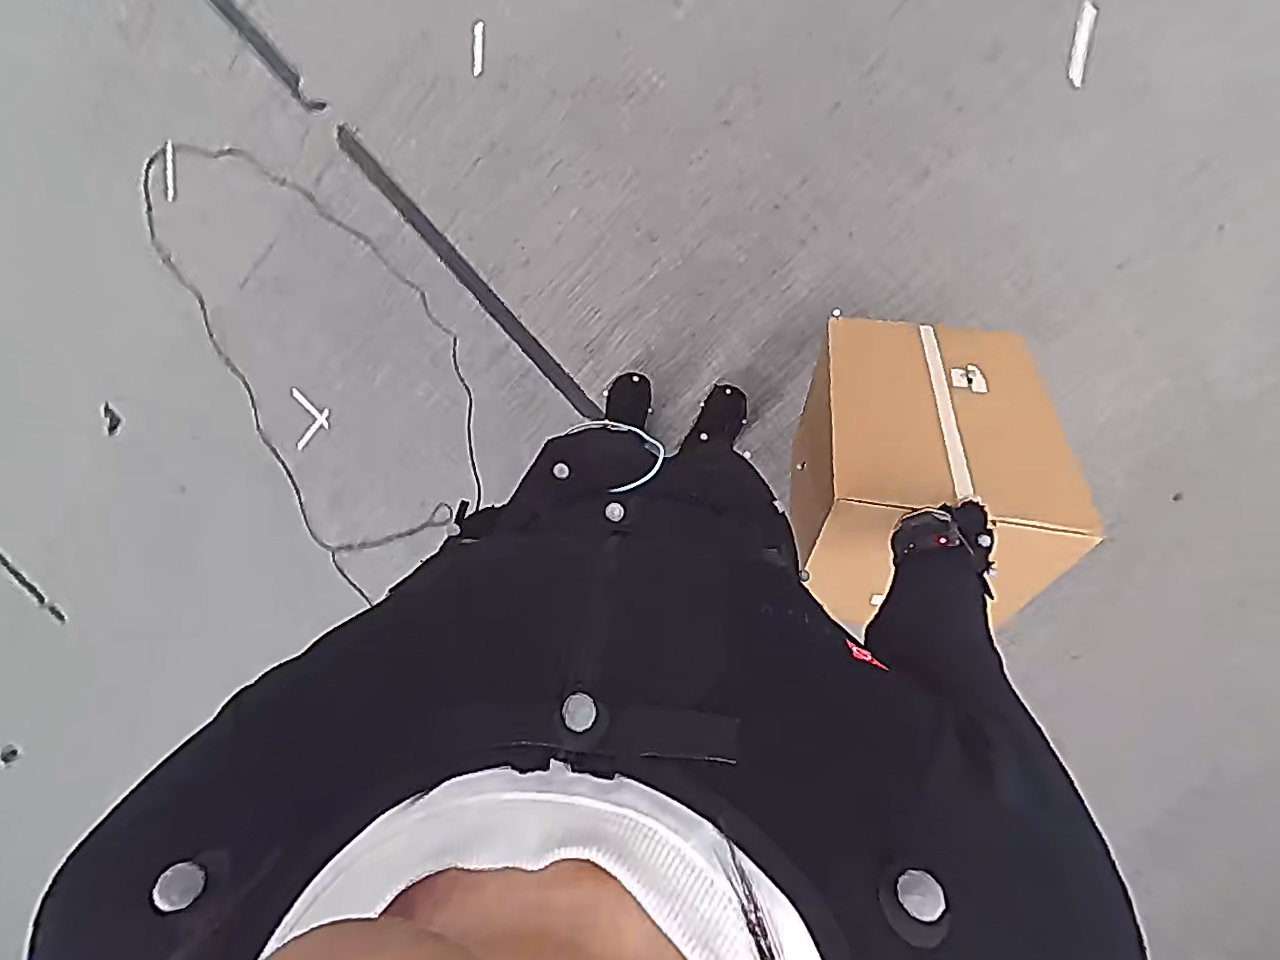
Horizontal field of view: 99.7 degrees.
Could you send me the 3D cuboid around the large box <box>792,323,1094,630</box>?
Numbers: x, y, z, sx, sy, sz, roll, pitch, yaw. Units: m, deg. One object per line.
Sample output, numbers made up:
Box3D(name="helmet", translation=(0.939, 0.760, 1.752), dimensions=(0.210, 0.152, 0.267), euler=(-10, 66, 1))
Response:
Box3D(name="large box", translation=(0.440, -0.011, 0.912), dimensions=(0.320, 0.408, 0.320), euler=(8, 140, 7))
